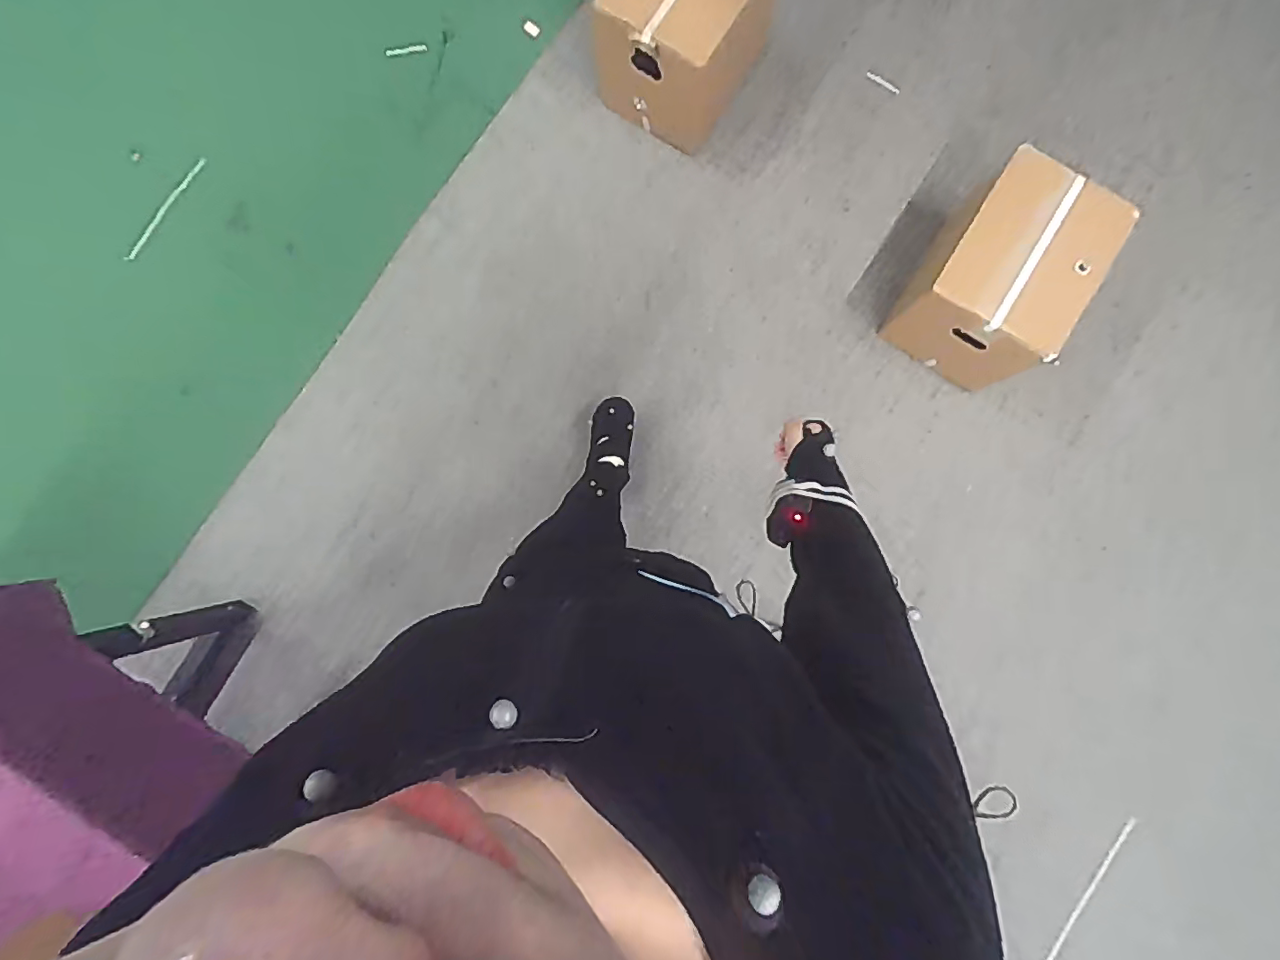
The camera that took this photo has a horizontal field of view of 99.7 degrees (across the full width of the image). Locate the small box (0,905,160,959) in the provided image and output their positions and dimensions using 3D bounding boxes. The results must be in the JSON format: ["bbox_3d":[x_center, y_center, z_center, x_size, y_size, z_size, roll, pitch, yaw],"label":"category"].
[{"bbox_3d":[-0.779,0.692,0.679,0.179,0.176,0.168,31,89,3],"label":"small box"}]

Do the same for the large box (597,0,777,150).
[{"bbox_3d":[0.133,-1.193,1.419,0.320,0.320,0.408,33,87,4],"label":"large box"}]
